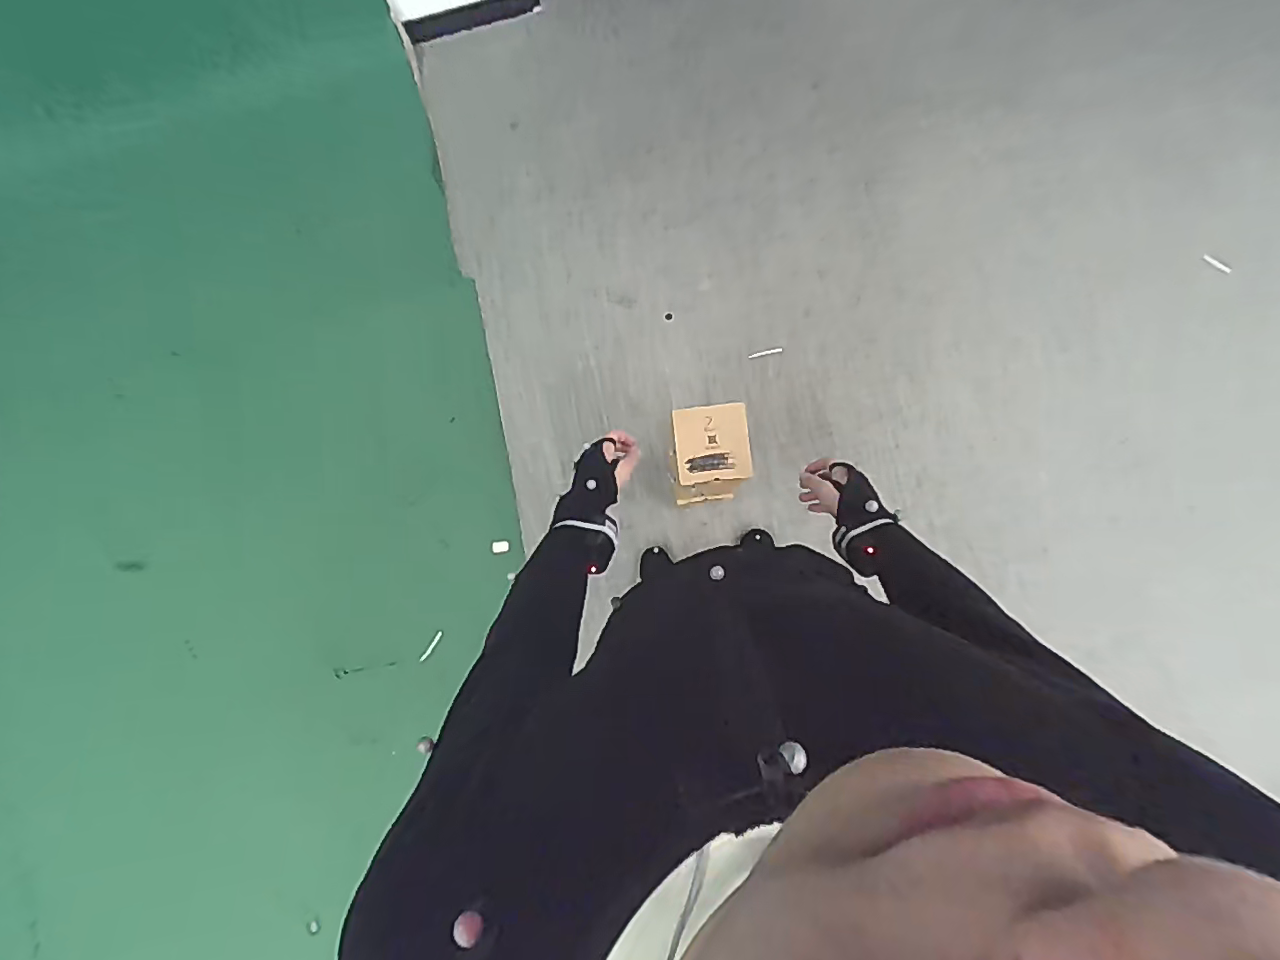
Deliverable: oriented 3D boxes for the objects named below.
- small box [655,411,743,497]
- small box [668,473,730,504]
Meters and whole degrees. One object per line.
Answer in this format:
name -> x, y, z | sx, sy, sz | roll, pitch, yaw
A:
small box -> 0.153, -0.061, 1.443 | 0.179, 0.176, 0.168 | 24, 86, 6
small box -> 0.166, -0.023, 1.593 | 0.168, 0.176, 0.179 | -8, 82, 1
